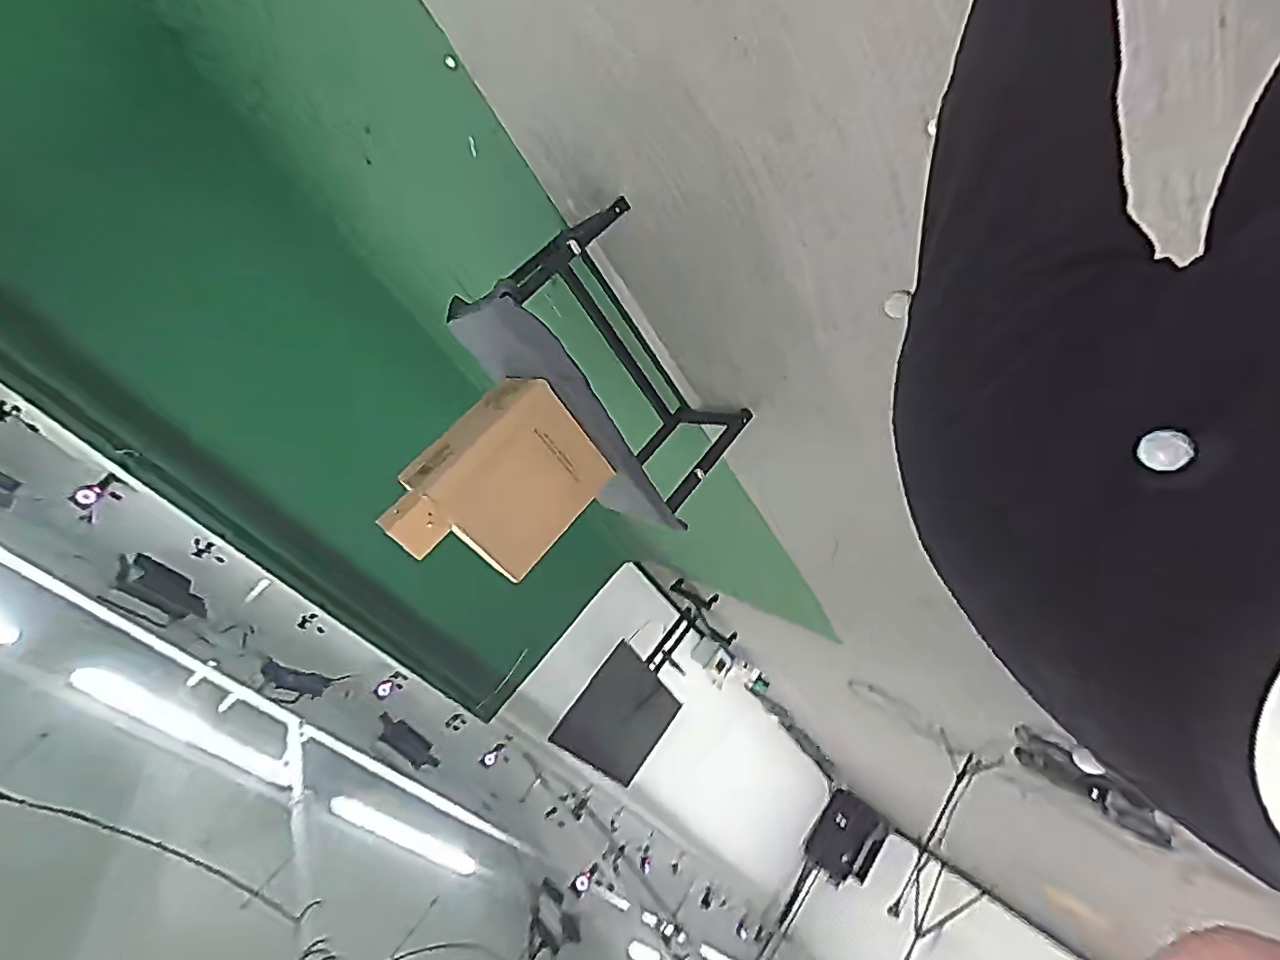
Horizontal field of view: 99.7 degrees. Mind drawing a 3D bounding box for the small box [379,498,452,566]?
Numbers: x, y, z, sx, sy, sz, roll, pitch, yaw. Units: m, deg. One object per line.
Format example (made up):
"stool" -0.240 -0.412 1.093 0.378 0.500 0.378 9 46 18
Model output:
"small box" -0.837 0.189 2.029 0.179 0.176 0.168 13 145 50
